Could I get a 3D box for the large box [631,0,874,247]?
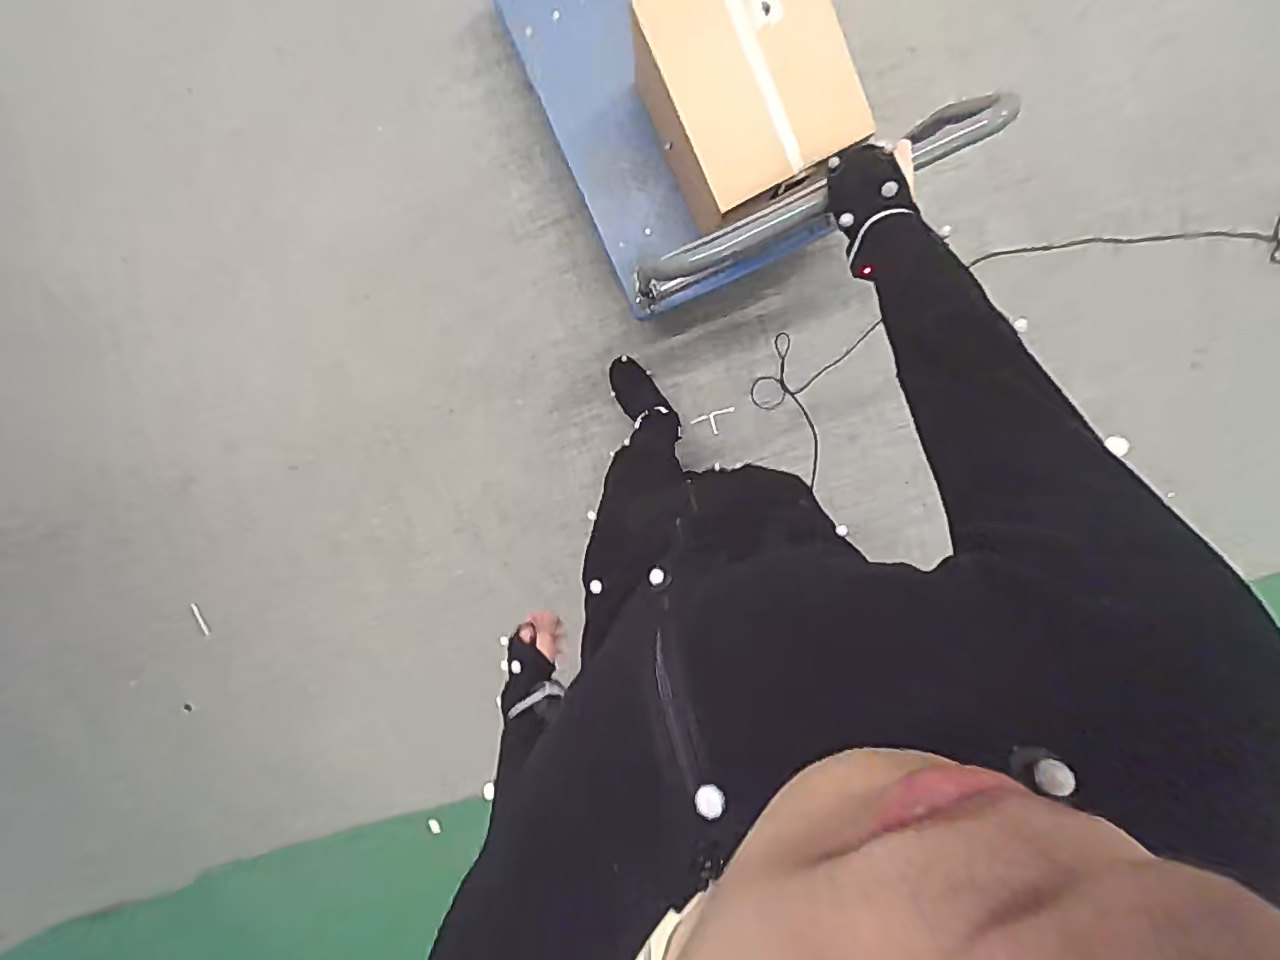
[{"bbox_3d":[0.213,-0.771,1.119,0.320,0.320,0.408,-25,99,6],"label":"large box"}]
